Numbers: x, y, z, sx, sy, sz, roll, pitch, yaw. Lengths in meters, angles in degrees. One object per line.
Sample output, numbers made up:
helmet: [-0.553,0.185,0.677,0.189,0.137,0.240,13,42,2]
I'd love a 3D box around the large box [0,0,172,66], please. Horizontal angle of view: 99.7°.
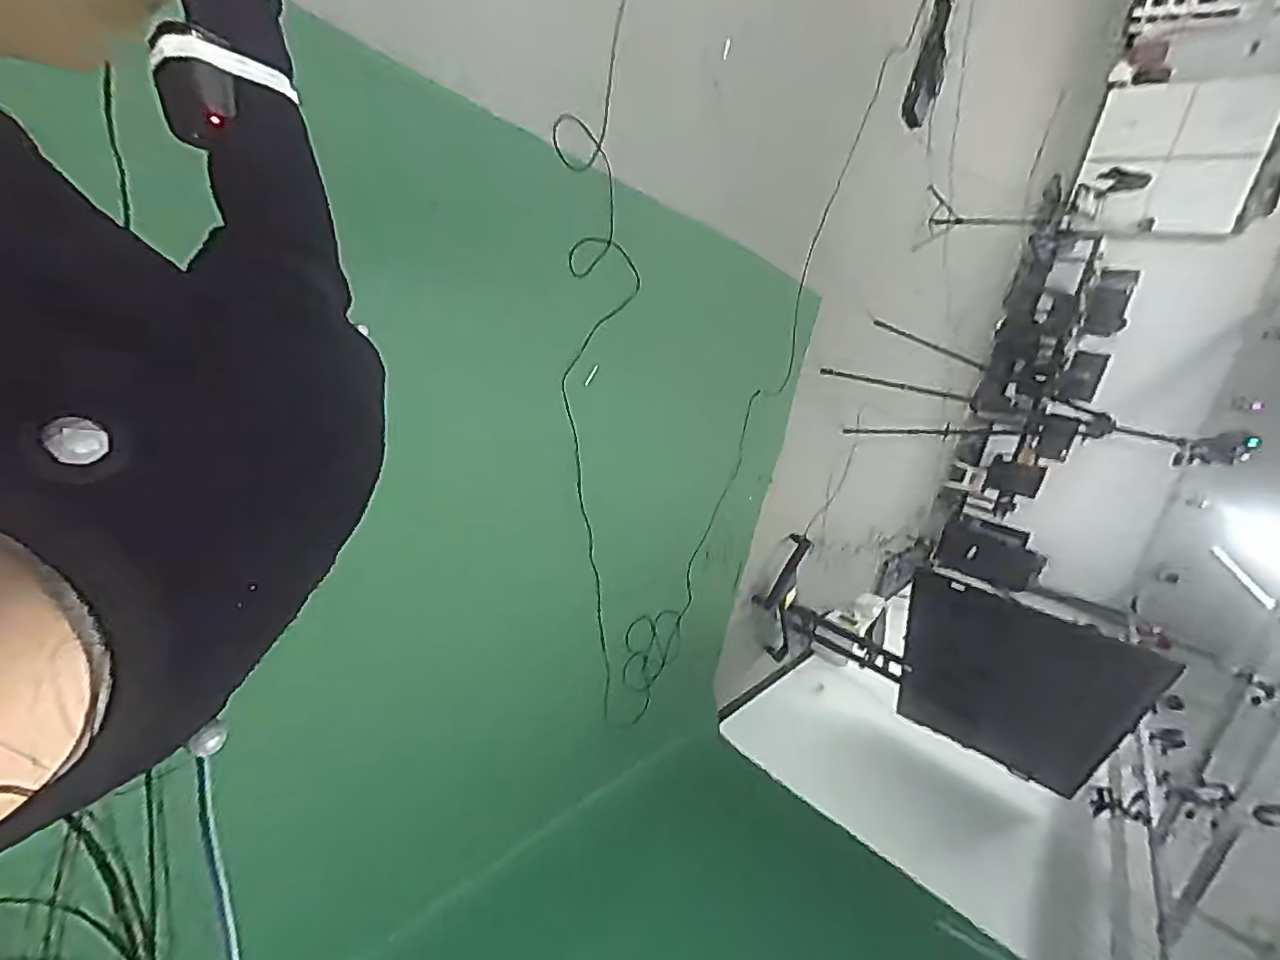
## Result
large box: [-0.561,-0.472,0.276,0.408,0.320,0.320,-25,121,-48]
